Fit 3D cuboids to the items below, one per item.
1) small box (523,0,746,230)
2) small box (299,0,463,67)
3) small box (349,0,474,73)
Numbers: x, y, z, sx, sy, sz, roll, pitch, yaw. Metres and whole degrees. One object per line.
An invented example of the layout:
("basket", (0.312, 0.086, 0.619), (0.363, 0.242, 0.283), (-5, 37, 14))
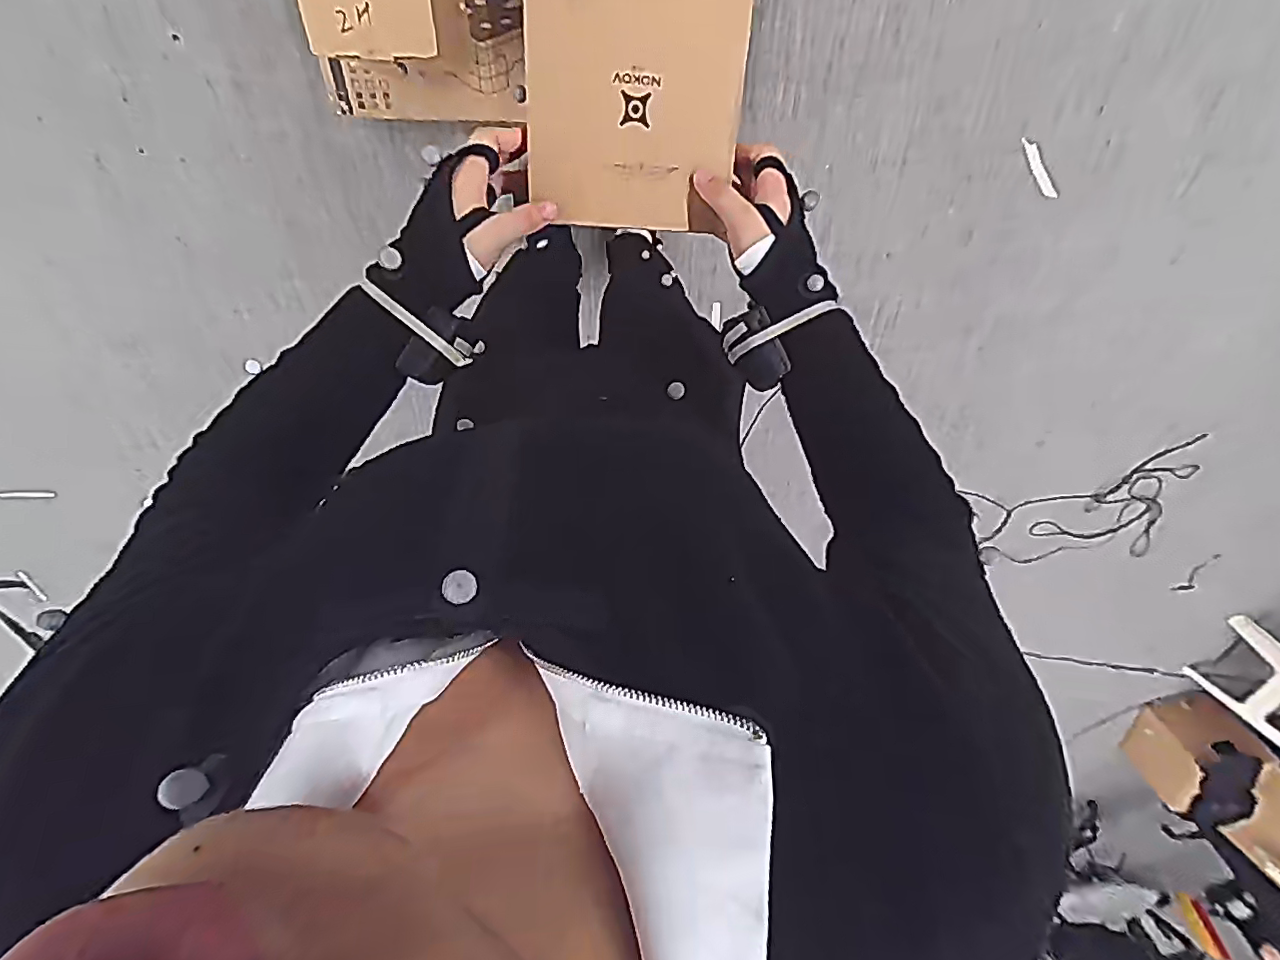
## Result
("small box", (-0.014, -0.330, 0.486), (0.168, 0.176, 0.179), (0, 119, -5))
("small box", (-0.349, -0.674, 0.729), (0.168, 0.176, 0.179), (0, 126, -3))
("small box", (-0.376, -0.765, 0.866), (0.168, 0.176, 0.179), (-2, 127, -2))
